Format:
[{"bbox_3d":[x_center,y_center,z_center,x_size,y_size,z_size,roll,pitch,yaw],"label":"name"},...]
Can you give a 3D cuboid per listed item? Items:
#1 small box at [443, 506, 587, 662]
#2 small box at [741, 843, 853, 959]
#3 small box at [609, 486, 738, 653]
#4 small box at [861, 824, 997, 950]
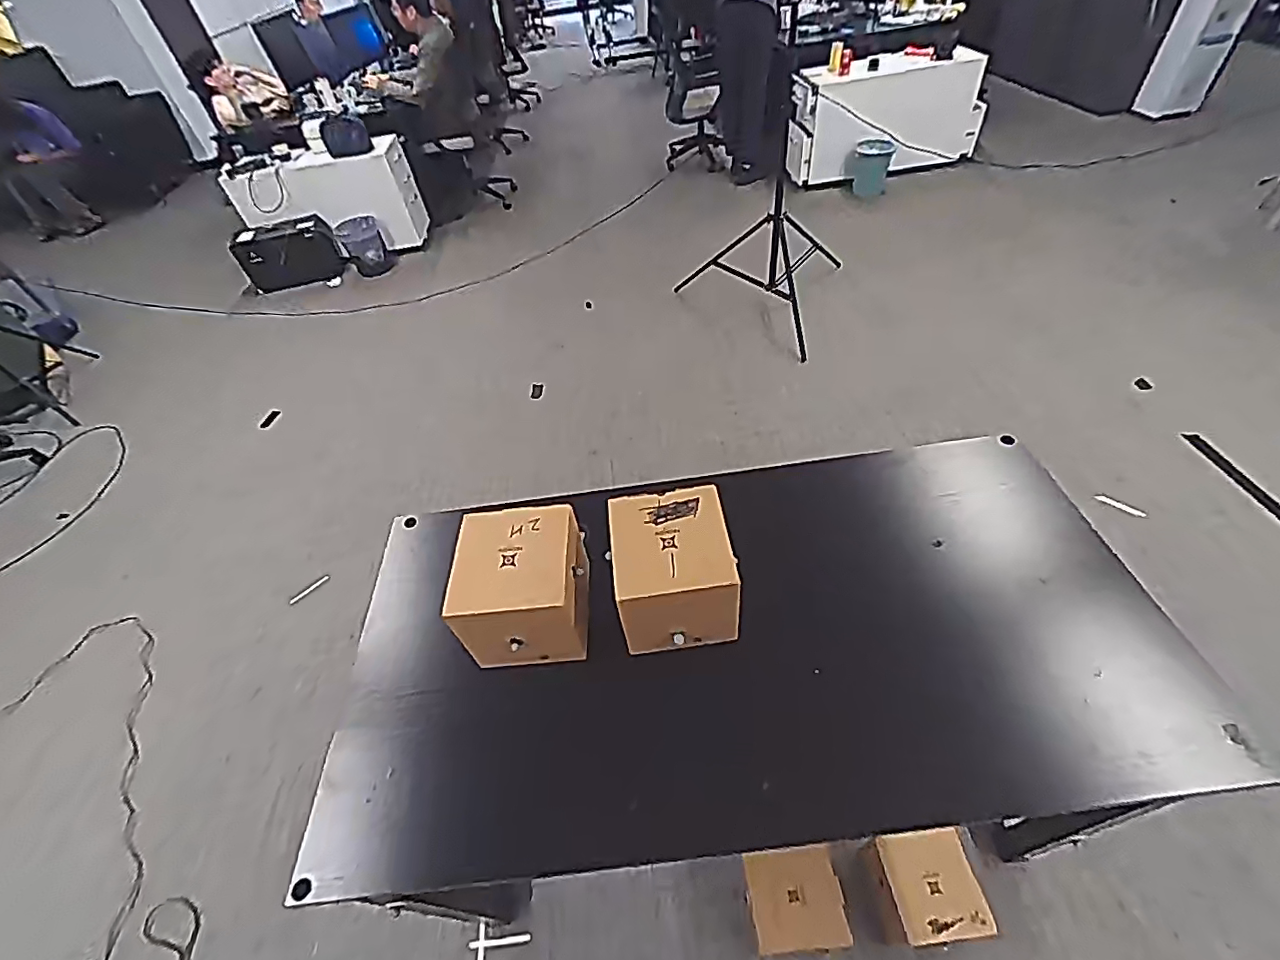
[{"bbox_3d":[-0.176,0.164,0.825,0.168,0.176,0.179,-5,47,2],"label":"small box"},{"bbox_3d":[0.309,0.862,1.107,0.179,0.176,0.168,-9,46,2],"label":"small box"},{"bbox_3d":[0.047,0.136,0.816,0.168,0.176,0.179,-8,48,1],"label":"small box"},{"bbox_3d":[0.569,0.826,1.096,0.168,0.176,0.179,-9,47,1],"label":"small box"}]
